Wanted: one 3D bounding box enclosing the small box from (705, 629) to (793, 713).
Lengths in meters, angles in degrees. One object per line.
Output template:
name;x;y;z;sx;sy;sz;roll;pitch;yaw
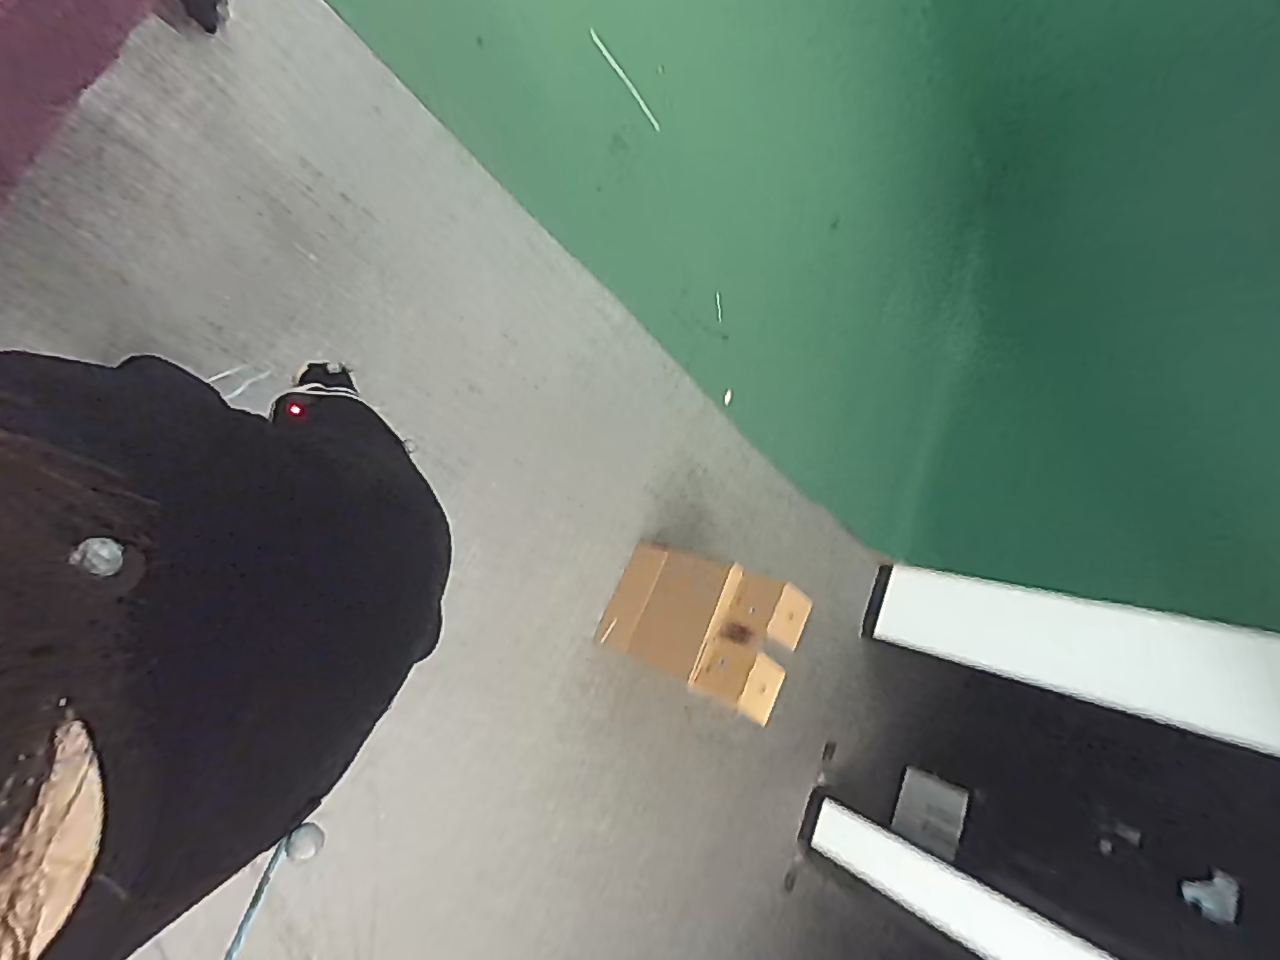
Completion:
small box;0.334;0.579;1.658;0.179;0.176;0.168;43;66;-34

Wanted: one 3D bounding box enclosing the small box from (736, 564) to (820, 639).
small box;0.437;0.381;1.729;0.179;0.176;0.168;37;73;-36
